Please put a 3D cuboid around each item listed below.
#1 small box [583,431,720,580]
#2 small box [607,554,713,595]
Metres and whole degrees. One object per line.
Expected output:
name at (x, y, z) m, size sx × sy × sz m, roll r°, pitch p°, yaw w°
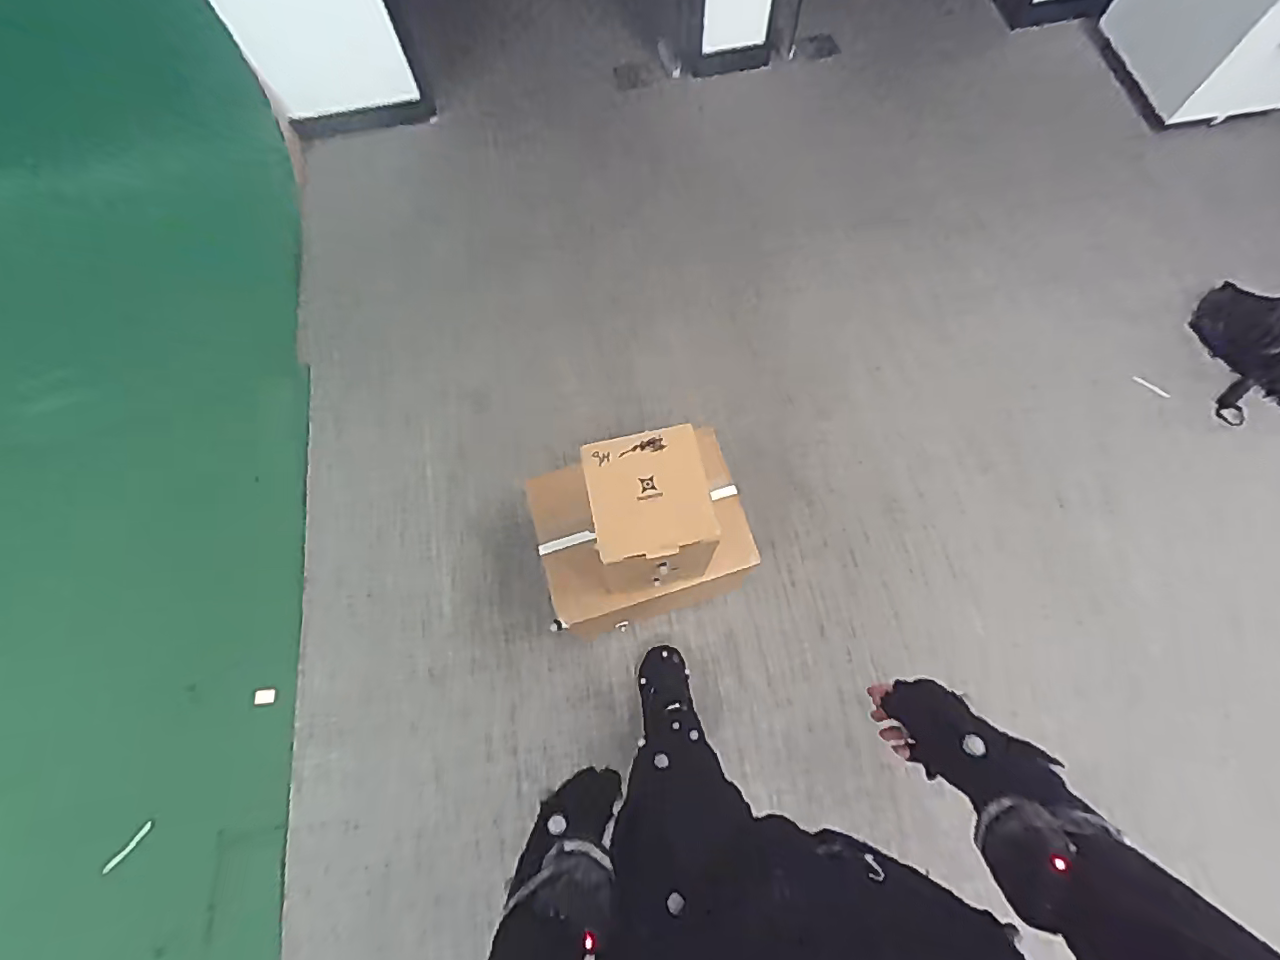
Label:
small box at (0.017, 0.049, 0.827) m, size 0.168 × 0.176 × 0.179 m, roll -12°, pitch 71°, yaw -2°
small box at (0.022, 0.105, 0.980) m, size 0.179 × 0.176 × 0.168 m, roll -12°, pitch 70°, yaw -2°
